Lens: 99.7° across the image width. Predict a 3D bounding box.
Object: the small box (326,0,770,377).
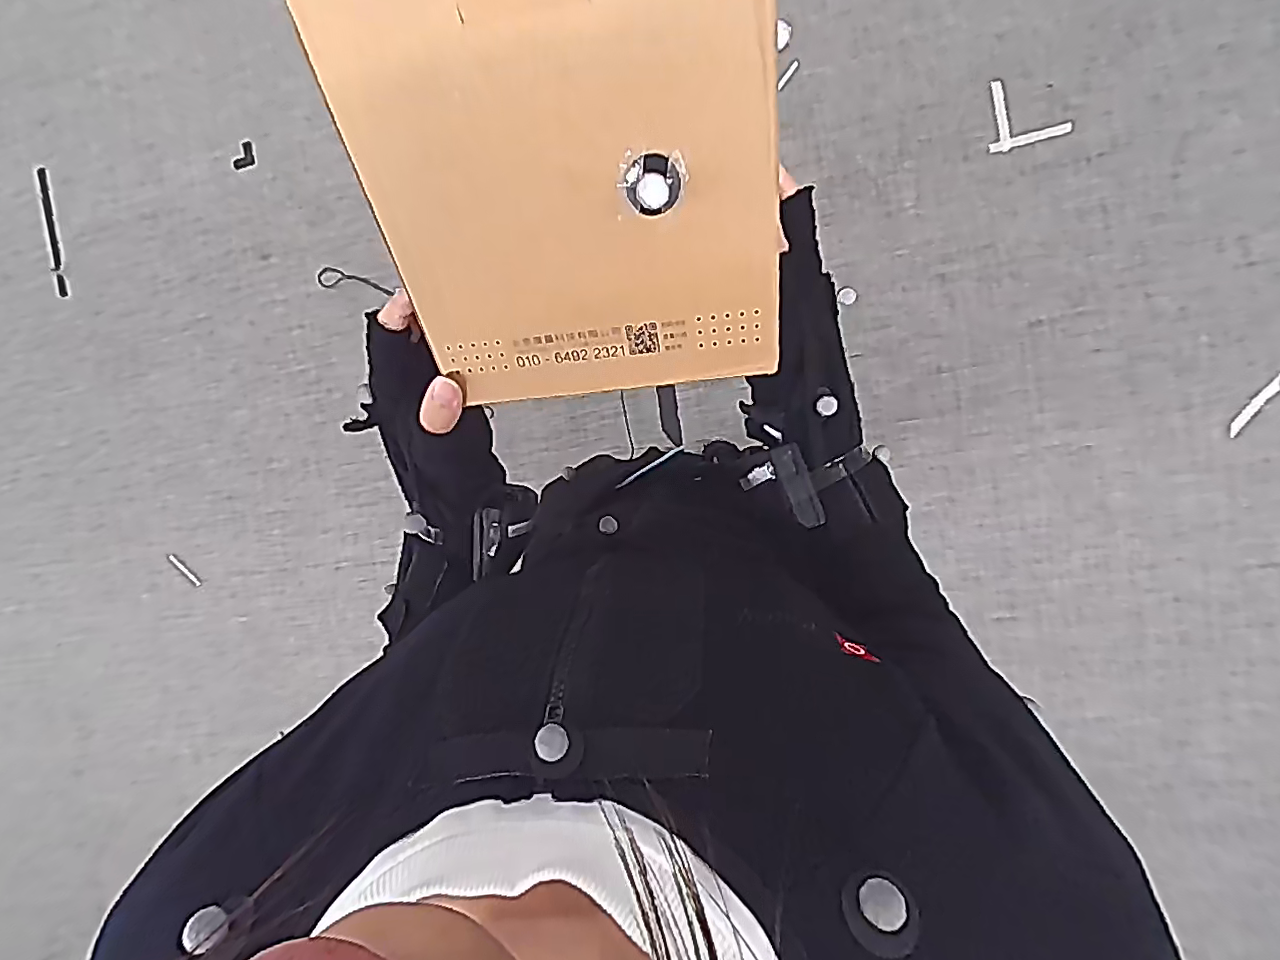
[{"bbox_3d":[-0.018,-0.167,0.301,0.168,0.179,0.176,-3,129,10],"label":"small box"}]
